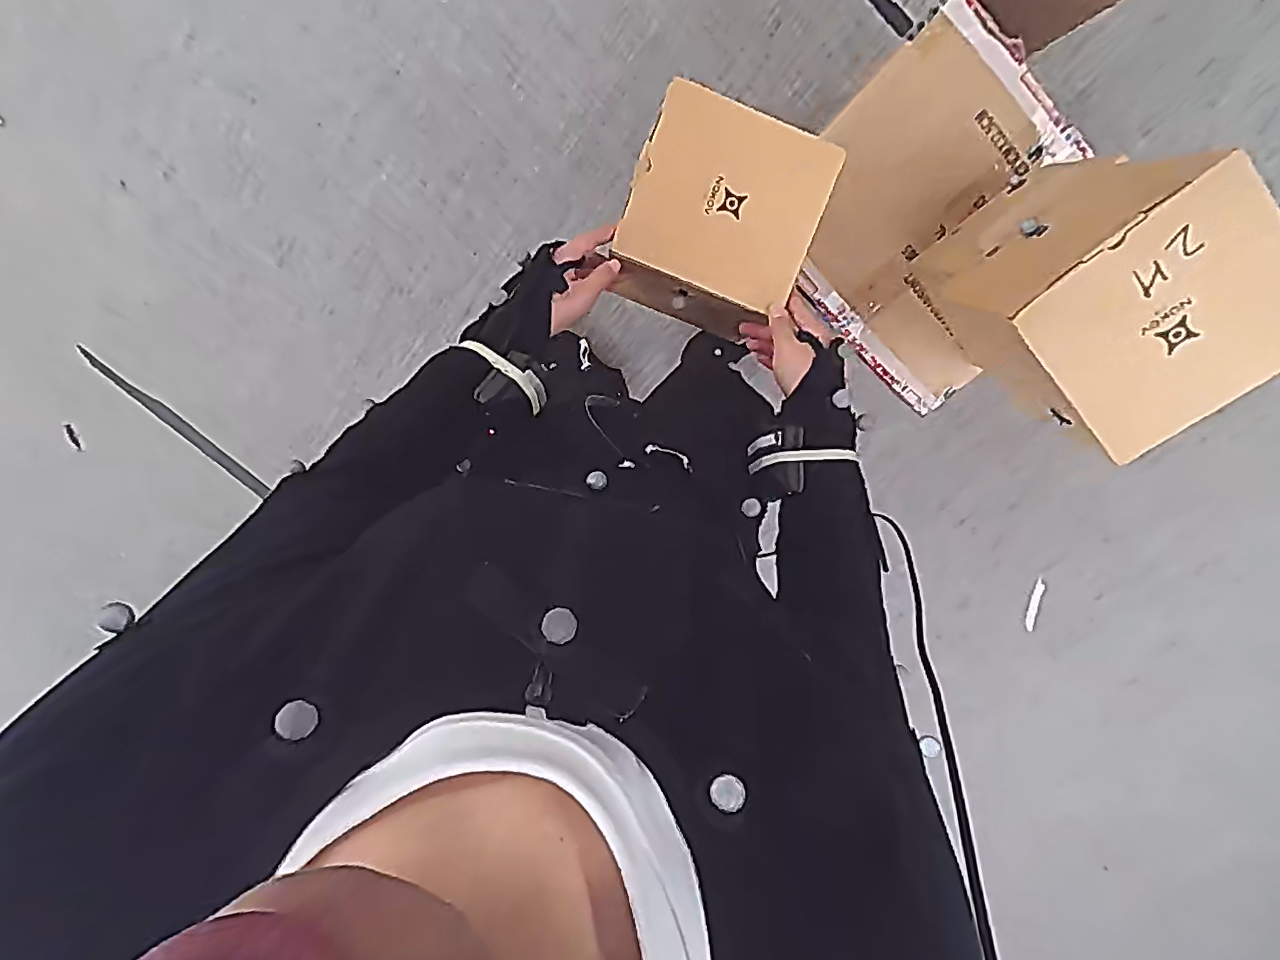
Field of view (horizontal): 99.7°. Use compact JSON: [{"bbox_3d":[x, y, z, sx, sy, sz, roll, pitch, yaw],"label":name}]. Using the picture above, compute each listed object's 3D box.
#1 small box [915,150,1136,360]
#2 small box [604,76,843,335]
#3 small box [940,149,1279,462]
[{"bbox_3d":[0.454,-0.234,0.621,0.168,0.176,0.179,-37,105,22],"label":"small box"},{"bbox_3d":[0.075,-0.265,0.573,0.179,0.176,0.168,21,96,-3],"label":"small box"},{"bbox_3d":[0.413,-0.153,0.481,0.168,0.176,0.179,-40,104,22],"label":"small box"}]
